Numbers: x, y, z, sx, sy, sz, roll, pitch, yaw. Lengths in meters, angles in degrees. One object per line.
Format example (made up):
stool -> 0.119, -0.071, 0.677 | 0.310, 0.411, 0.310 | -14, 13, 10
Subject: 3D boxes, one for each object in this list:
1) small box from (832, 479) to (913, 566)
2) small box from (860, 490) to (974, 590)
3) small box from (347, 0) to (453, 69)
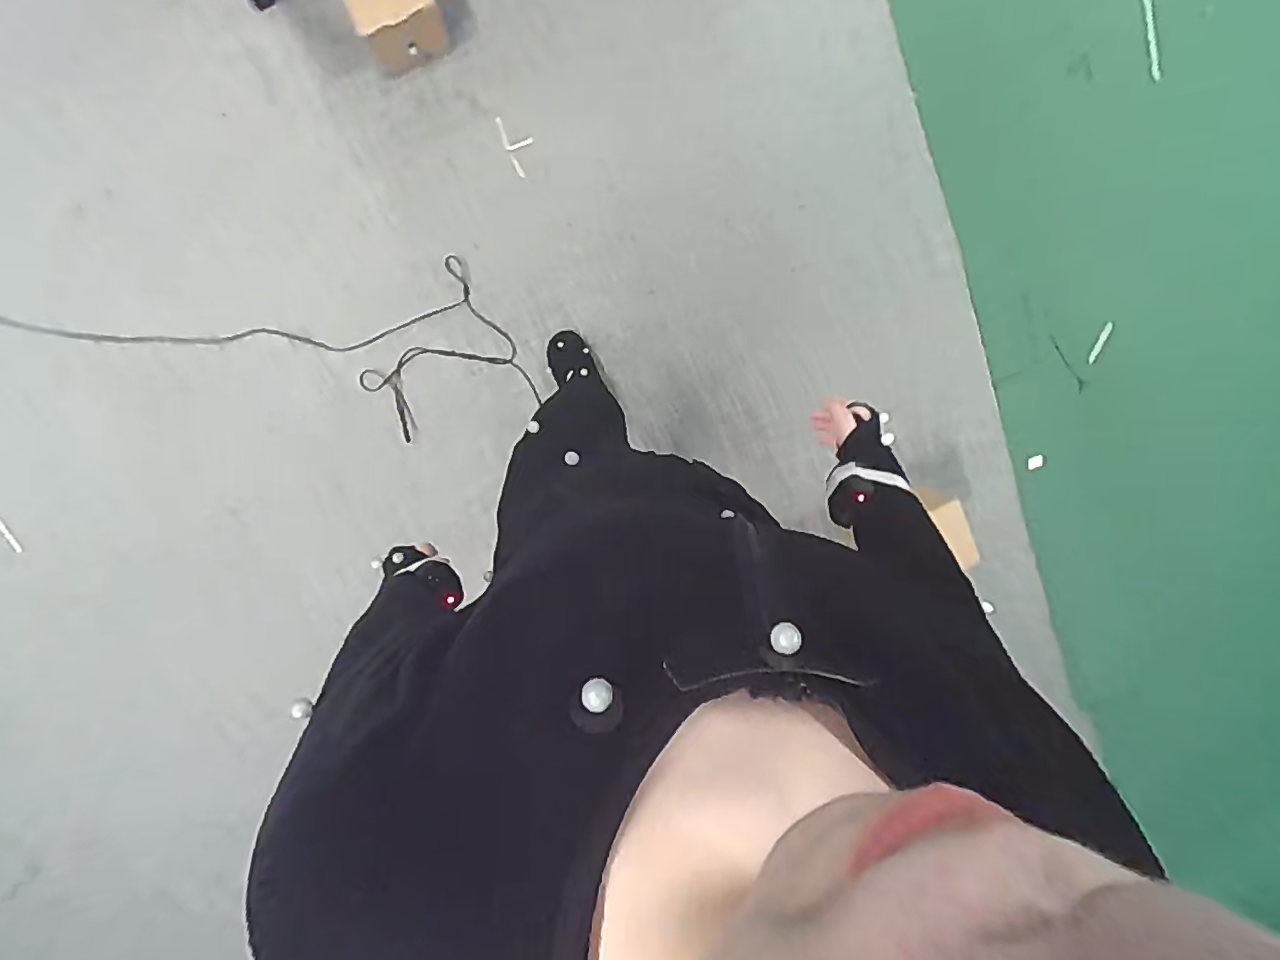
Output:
small box -> 0.662, 0.108, 1.506 | 0.168, 0.176, 0.179 | -25, 104, 0
small box -> 0.680, 0.138, 1.345 | 0.168, 0.176, 0.179 | -26, 103, 1
small box -> -0.521, -1.018, 1.145 | 0.168, 0.176, 0.179 | -24, 104, 0
